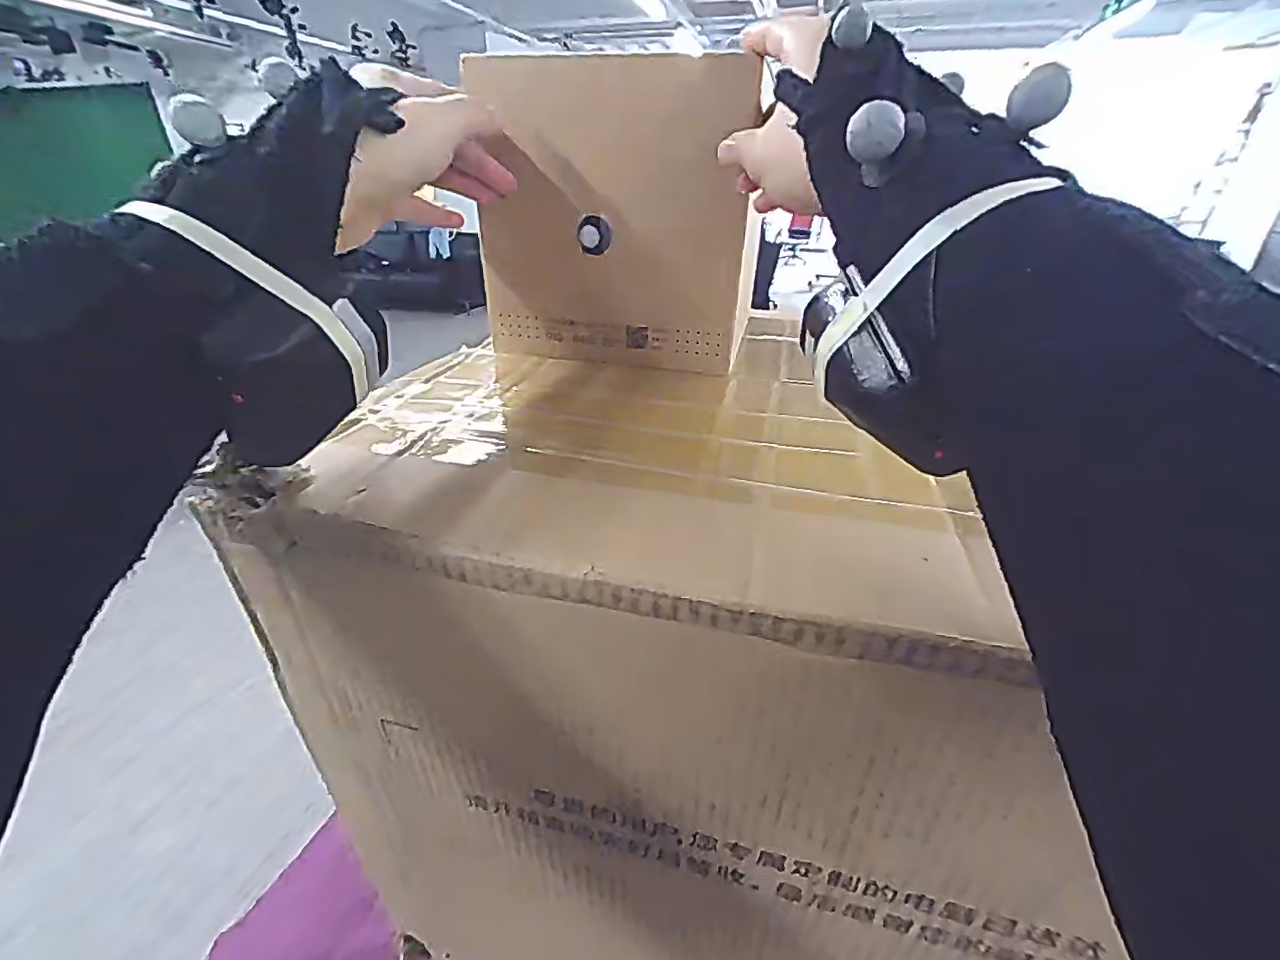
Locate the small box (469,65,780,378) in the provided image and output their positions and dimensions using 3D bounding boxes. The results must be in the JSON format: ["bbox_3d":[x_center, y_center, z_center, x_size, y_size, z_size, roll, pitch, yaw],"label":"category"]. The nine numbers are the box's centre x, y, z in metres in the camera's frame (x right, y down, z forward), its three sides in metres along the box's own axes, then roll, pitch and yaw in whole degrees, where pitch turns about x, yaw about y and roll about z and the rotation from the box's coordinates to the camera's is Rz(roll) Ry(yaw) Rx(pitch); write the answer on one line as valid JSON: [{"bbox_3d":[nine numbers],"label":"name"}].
[{"bbox_3d":[0.003,-0.183,0.392,0.168,0.176,0.179,9,31,11],"label":"small box"}]
